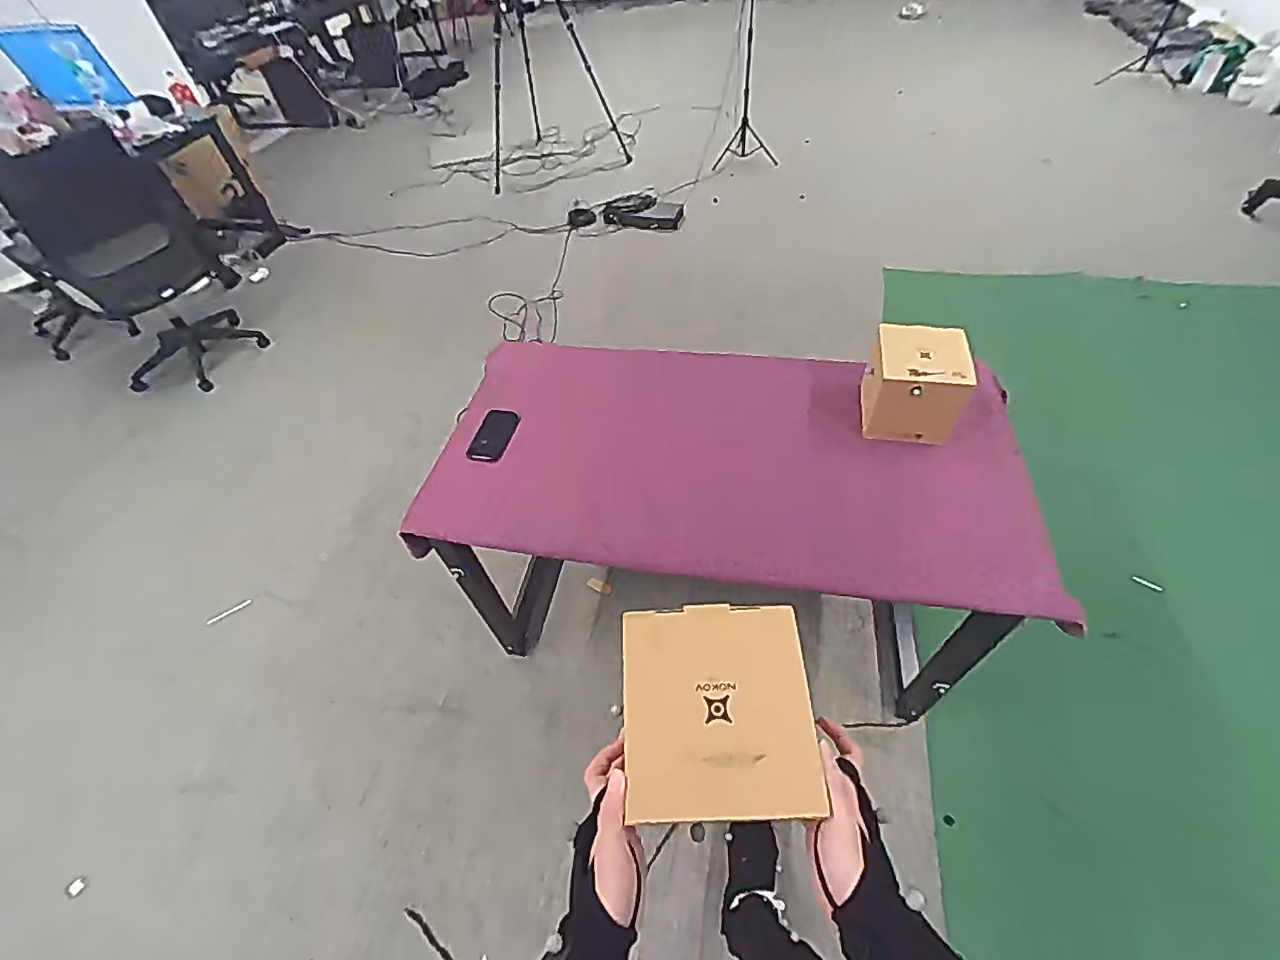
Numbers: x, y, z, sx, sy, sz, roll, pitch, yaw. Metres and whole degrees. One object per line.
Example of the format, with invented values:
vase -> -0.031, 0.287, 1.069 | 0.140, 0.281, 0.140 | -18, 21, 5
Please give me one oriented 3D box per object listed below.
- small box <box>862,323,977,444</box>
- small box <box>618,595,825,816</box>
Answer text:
small box -> 0.561, -0.200, 1.113 | 0.168, 0.176, 0.179 | 6, 51, 12
small box -> 0.065, 0.228, 0.536 | 0.168, 0.176, 0.179 | -3, 58, 2
